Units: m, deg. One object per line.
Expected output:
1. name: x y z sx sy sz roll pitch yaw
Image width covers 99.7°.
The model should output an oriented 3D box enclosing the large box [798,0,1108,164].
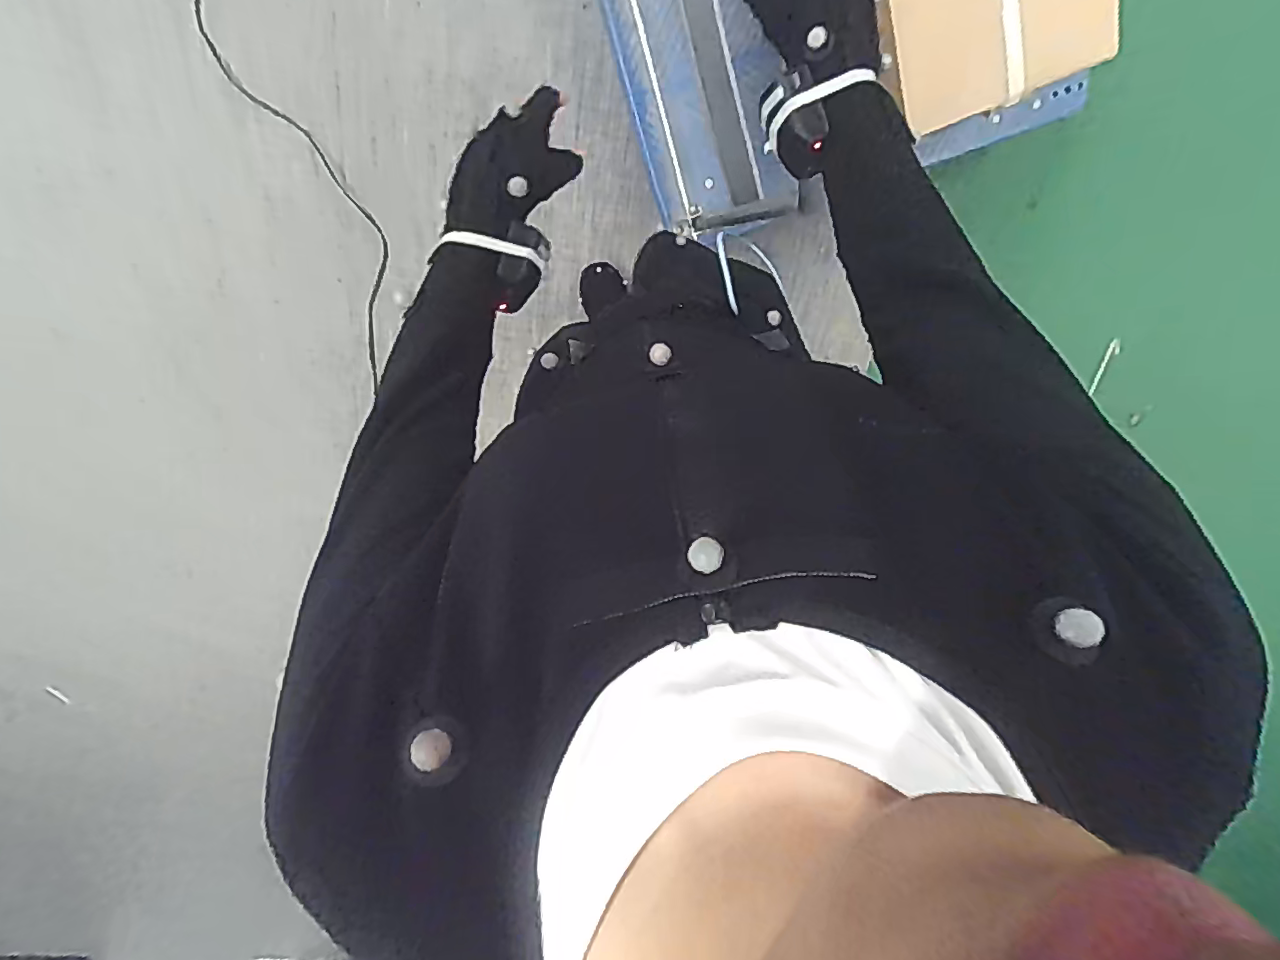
1. large box: 0.466 -0.802 0.870 0.320 0.320 0.408 -20 112 5
